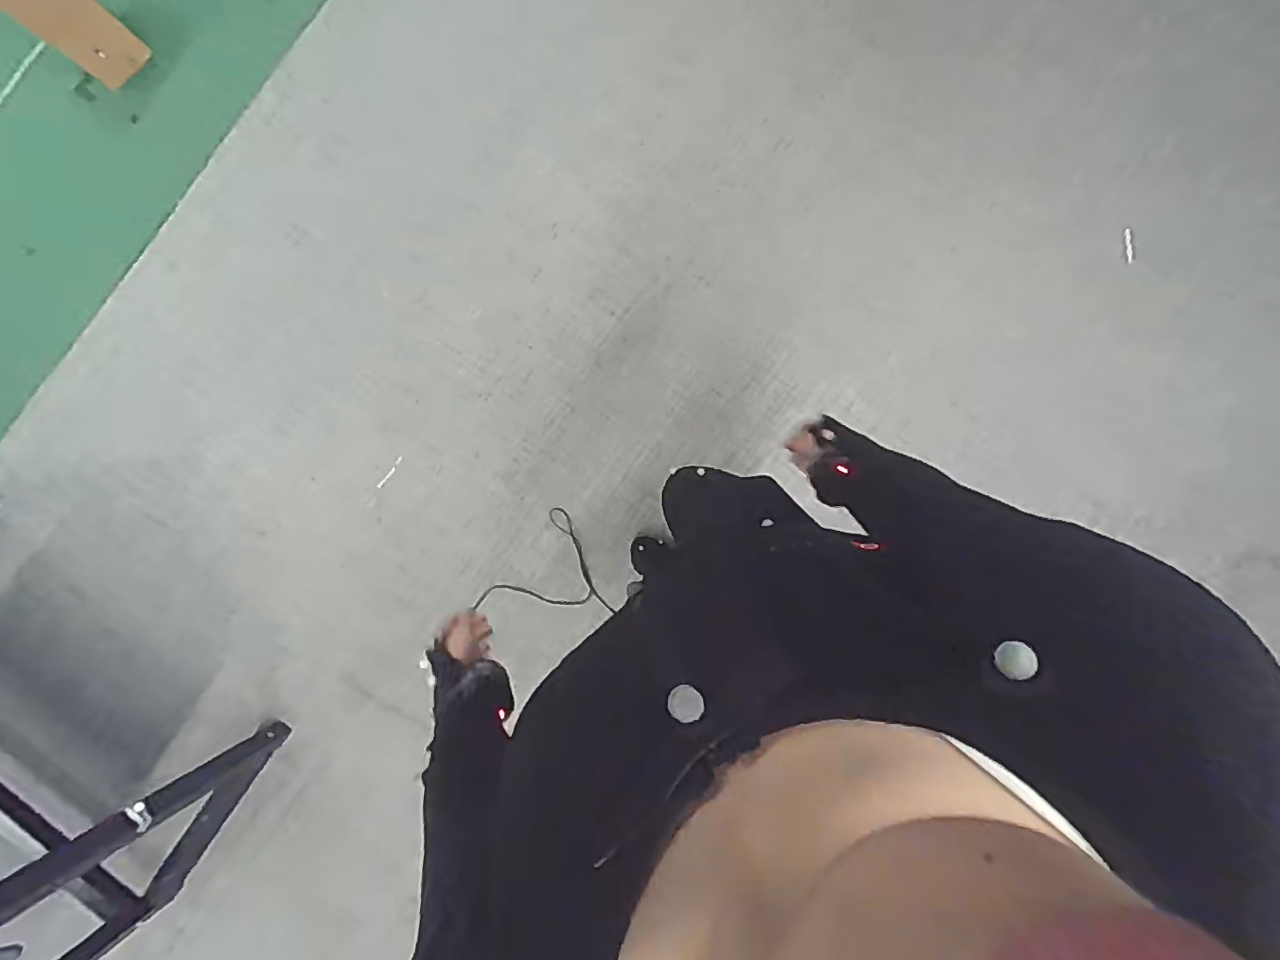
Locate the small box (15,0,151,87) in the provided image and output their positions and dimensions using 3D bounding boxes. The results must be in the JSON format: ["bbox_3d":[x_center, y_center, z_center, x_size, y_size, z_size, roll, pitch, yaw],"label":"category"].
[{"bbox_3d":[-1.562,-1.268,1.529,0.179,0.176,0.168,43,89,3],"label":"small box"}]
